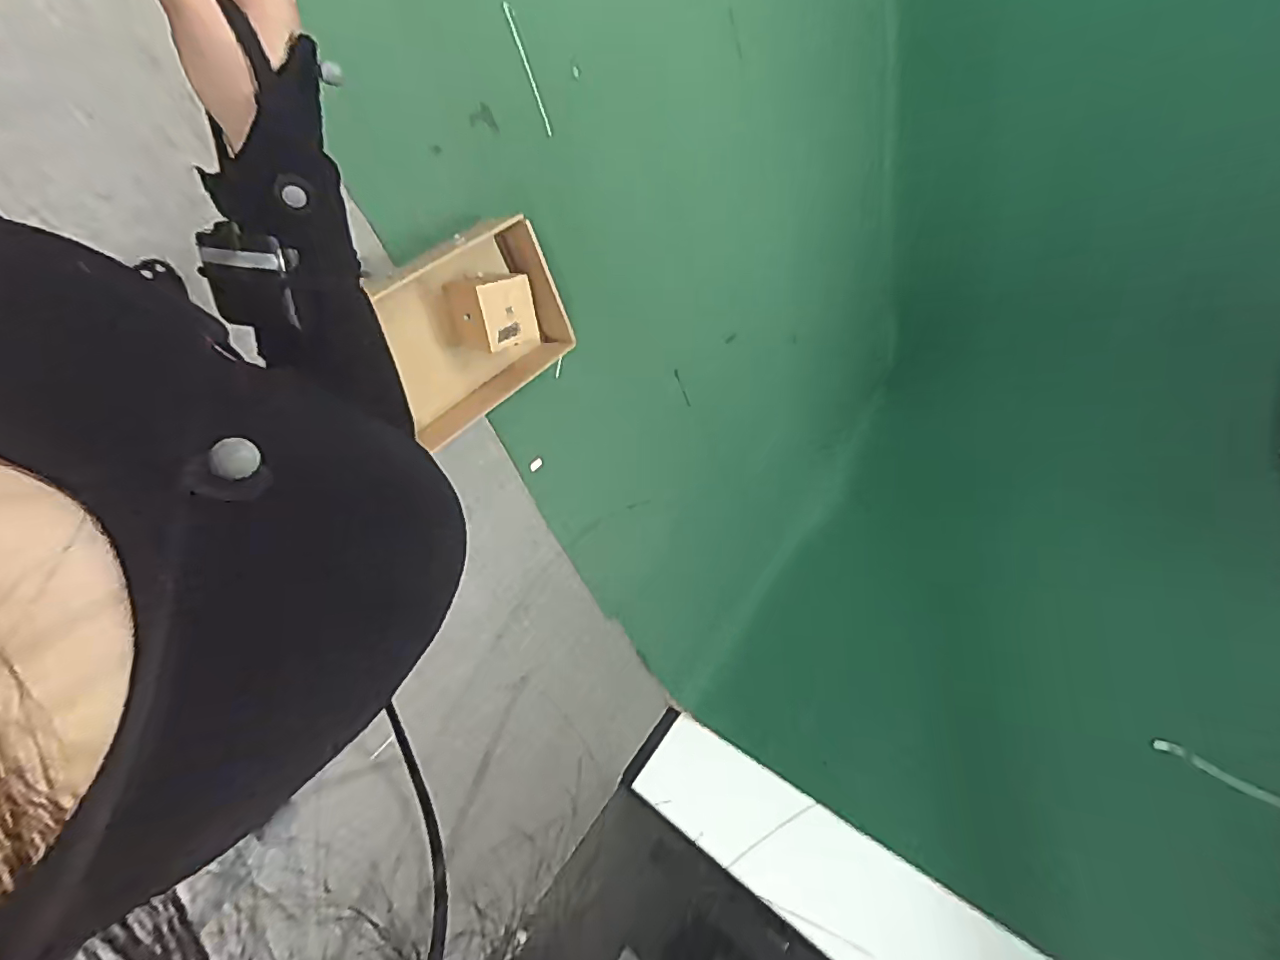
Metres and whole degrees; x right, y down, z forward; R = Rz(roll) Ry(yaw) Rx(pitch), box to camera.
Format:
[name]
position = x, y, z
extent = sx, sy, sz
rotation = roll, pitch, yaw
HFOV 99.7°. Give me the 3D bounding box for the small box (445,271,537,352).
[small box]
position = -0.415, -0.474, 1.505
extent = 0.168, 0.176, 0.179
rotation = -31, 128, -37
